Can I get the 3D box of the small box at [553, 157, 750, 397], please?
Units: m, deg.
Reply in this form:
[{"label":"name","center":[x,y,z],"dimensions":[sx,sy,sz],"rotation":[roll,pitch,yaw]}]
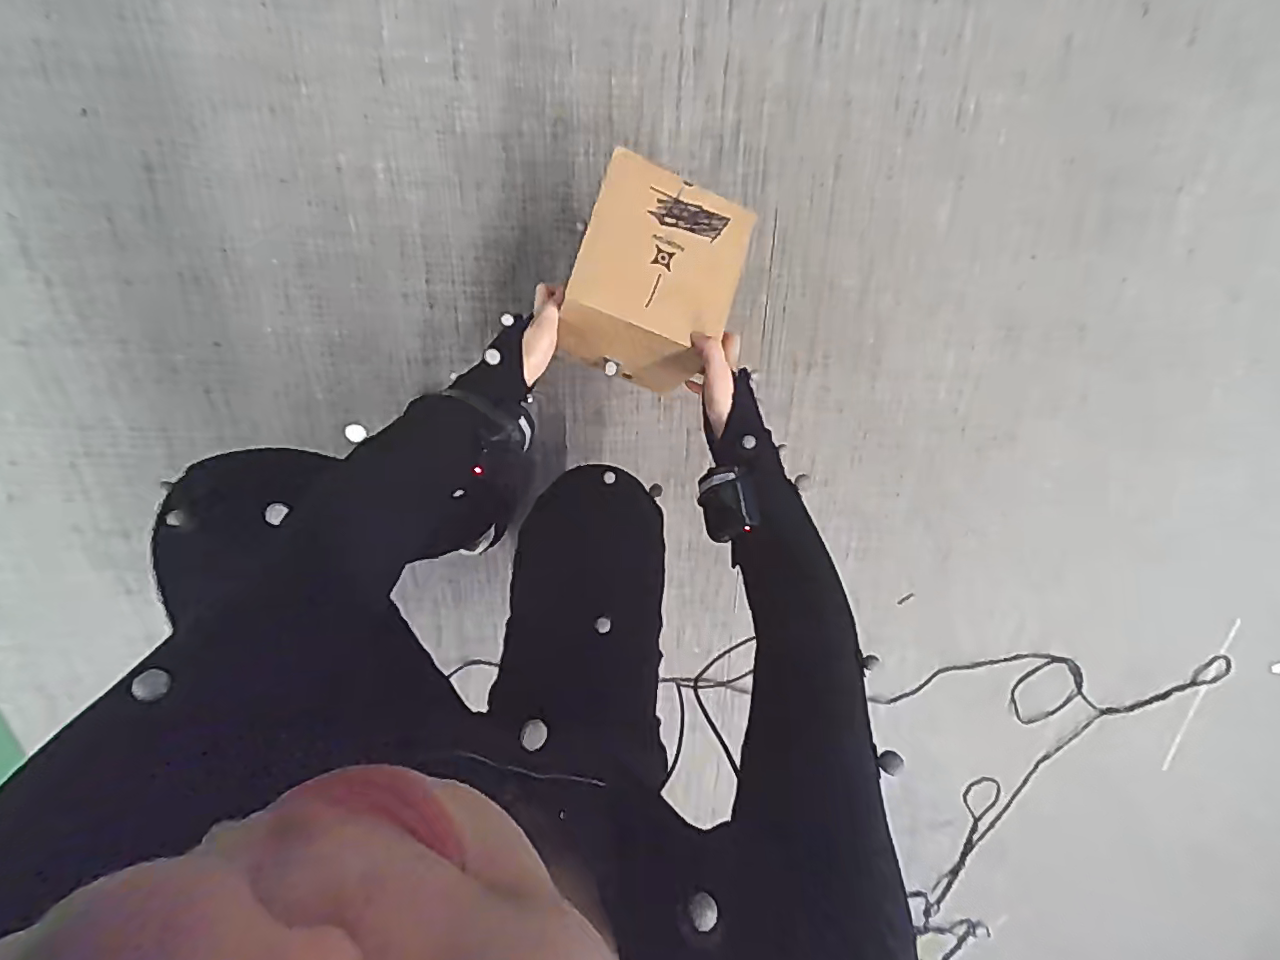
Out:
[{"label":"small box","center":[0.003,-0.220,0.635],"dimensions":[0.168,0.176,0.179],"rotation":[18,80,-13]}]
